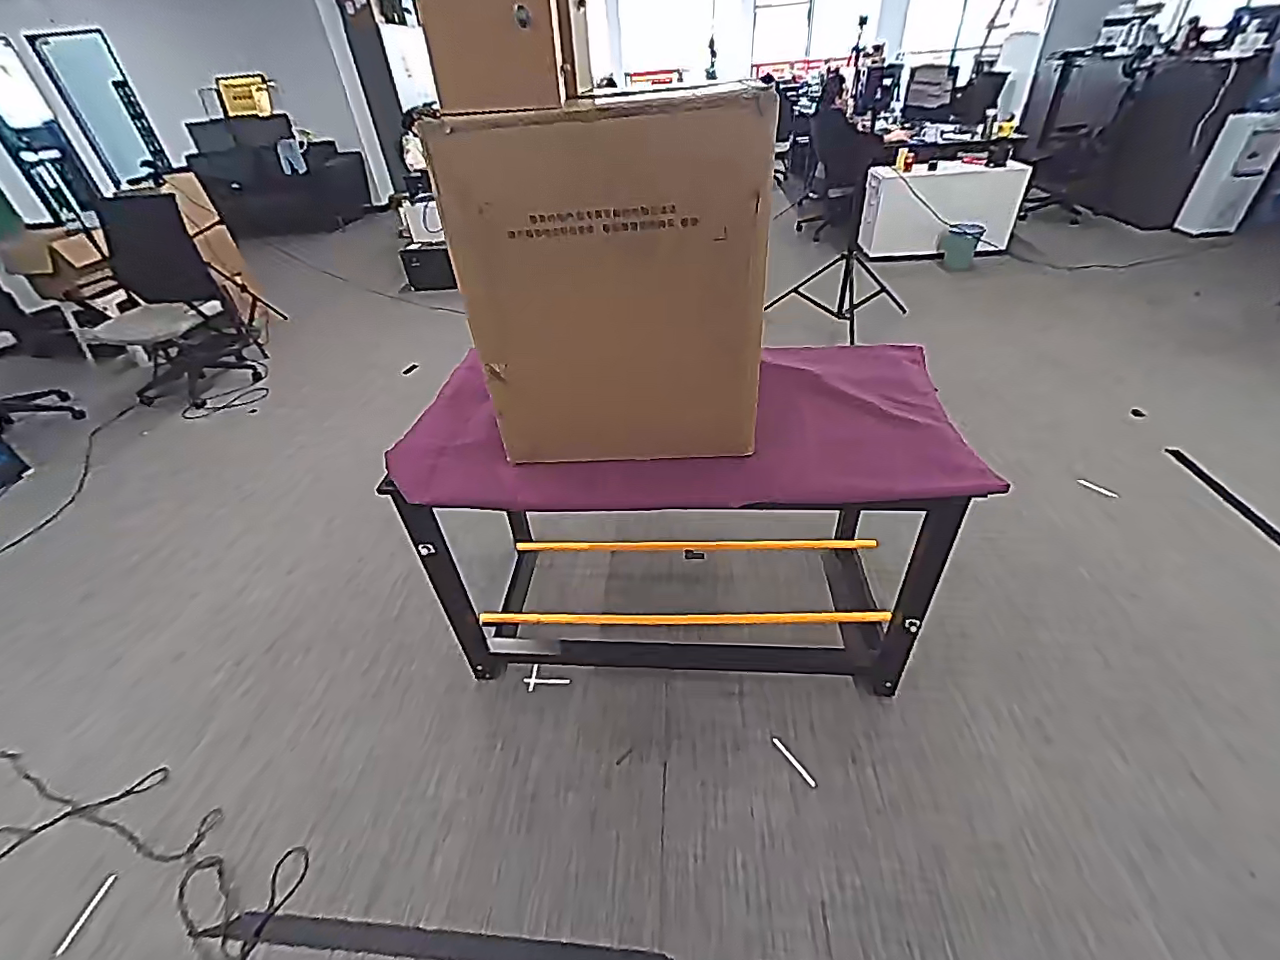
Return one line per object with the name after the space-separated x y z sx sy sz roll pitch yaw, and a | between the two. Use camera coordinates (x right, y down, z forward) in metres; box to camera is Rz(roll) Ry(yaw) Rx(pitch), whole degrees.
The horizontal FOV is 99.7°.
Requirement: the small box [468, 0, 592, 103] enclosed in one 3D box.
-0.184 -0.777 0.961 0.168 0.176 0.179 1 38 6 | small box
